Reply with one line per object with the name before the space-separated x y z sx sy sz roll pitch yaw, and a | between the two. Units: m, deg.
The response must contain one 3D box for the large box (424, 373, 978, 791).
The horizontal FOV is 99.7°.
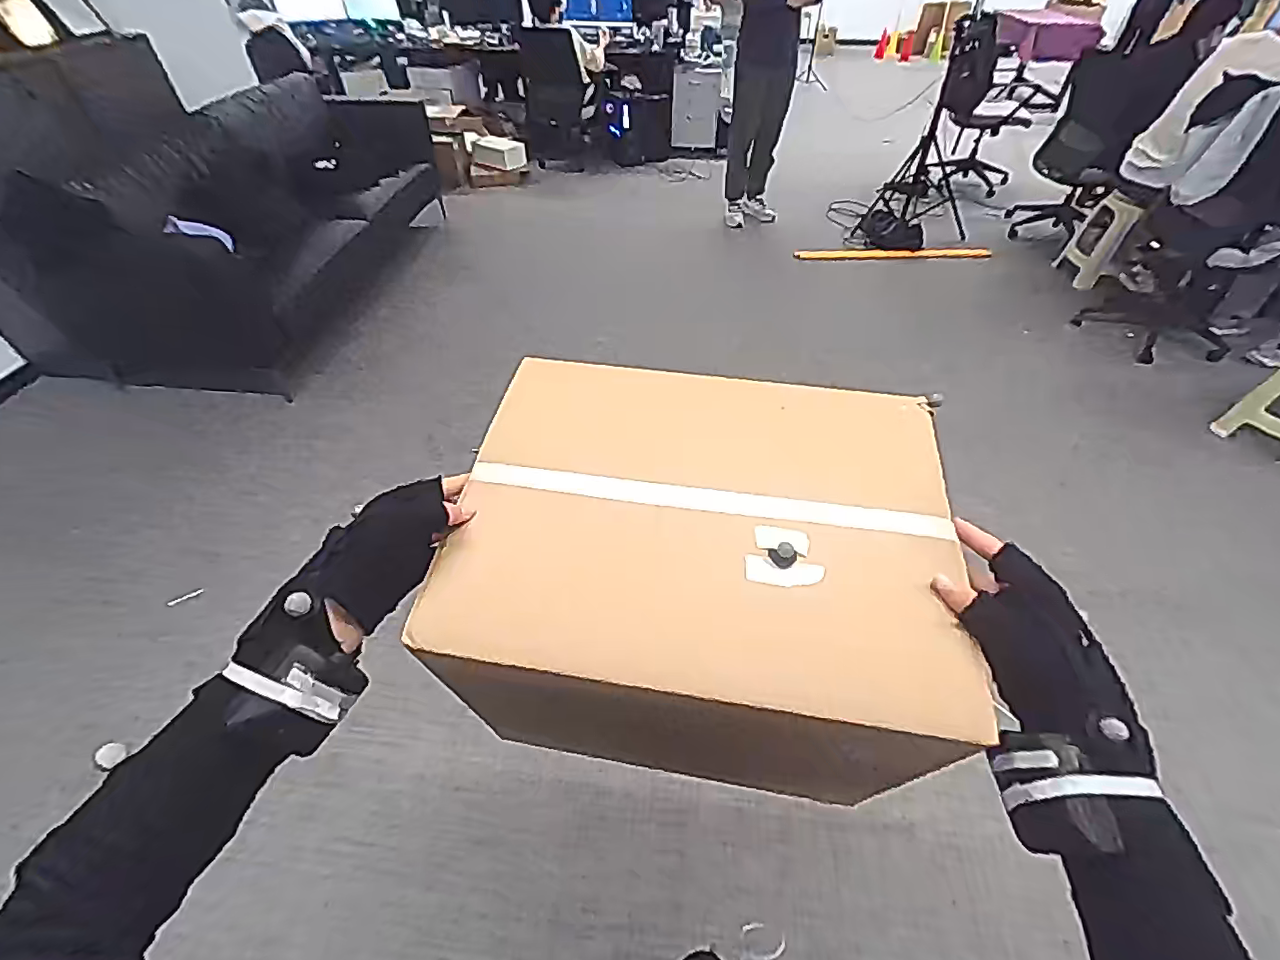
large box | 0.056 0.114 0.588 0.408 0.320 0.320 7 54 7
